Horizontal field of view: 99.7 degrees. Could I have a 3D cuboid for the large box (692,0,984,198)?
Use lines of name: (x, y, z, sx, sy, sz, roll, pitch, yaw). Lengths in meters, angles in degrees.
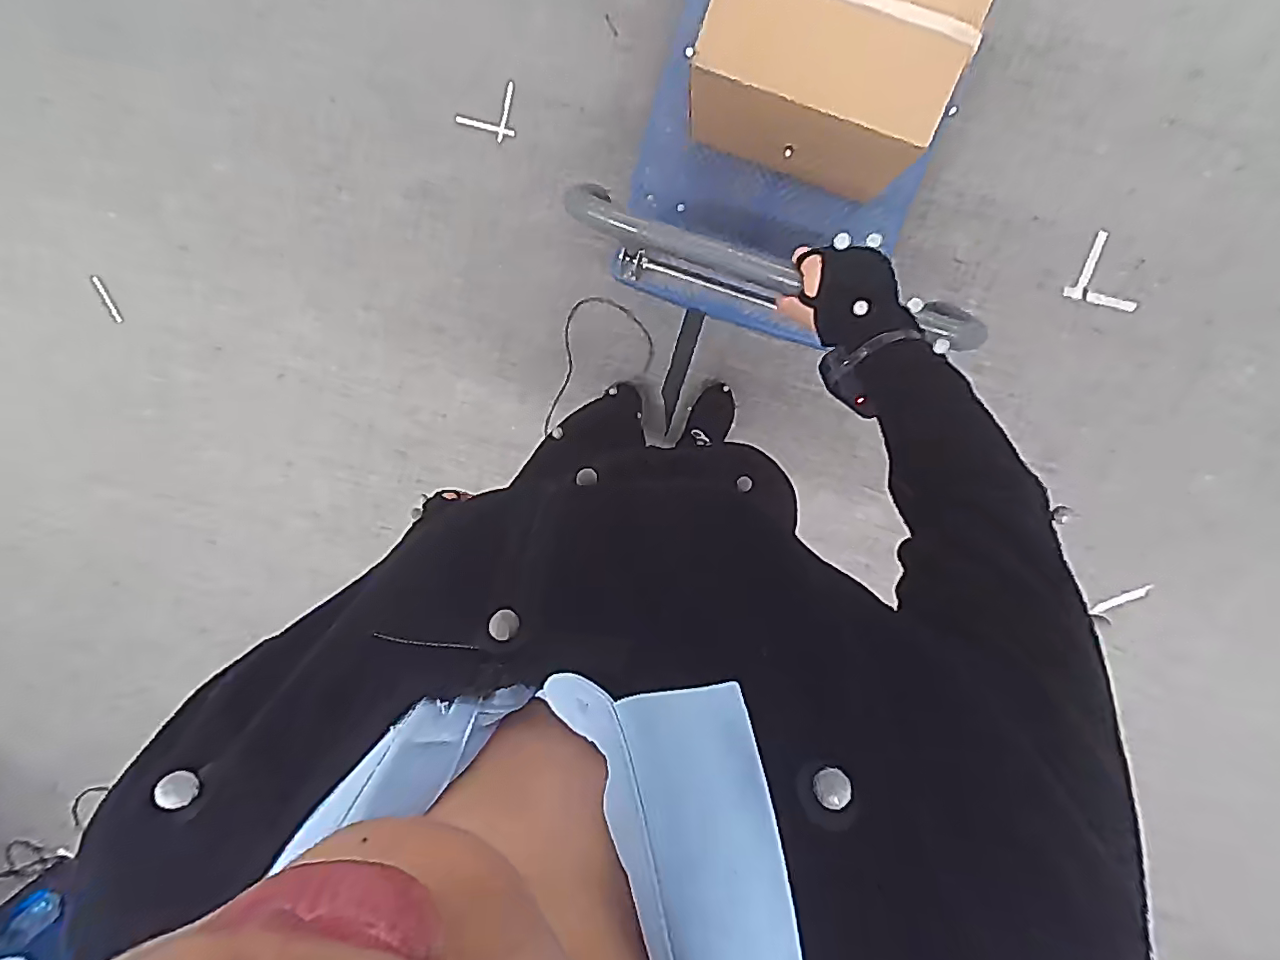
large box: (0.335, -0.771, 0.985, 0.408, 0.320, 0.320, 20, 102, 1)
